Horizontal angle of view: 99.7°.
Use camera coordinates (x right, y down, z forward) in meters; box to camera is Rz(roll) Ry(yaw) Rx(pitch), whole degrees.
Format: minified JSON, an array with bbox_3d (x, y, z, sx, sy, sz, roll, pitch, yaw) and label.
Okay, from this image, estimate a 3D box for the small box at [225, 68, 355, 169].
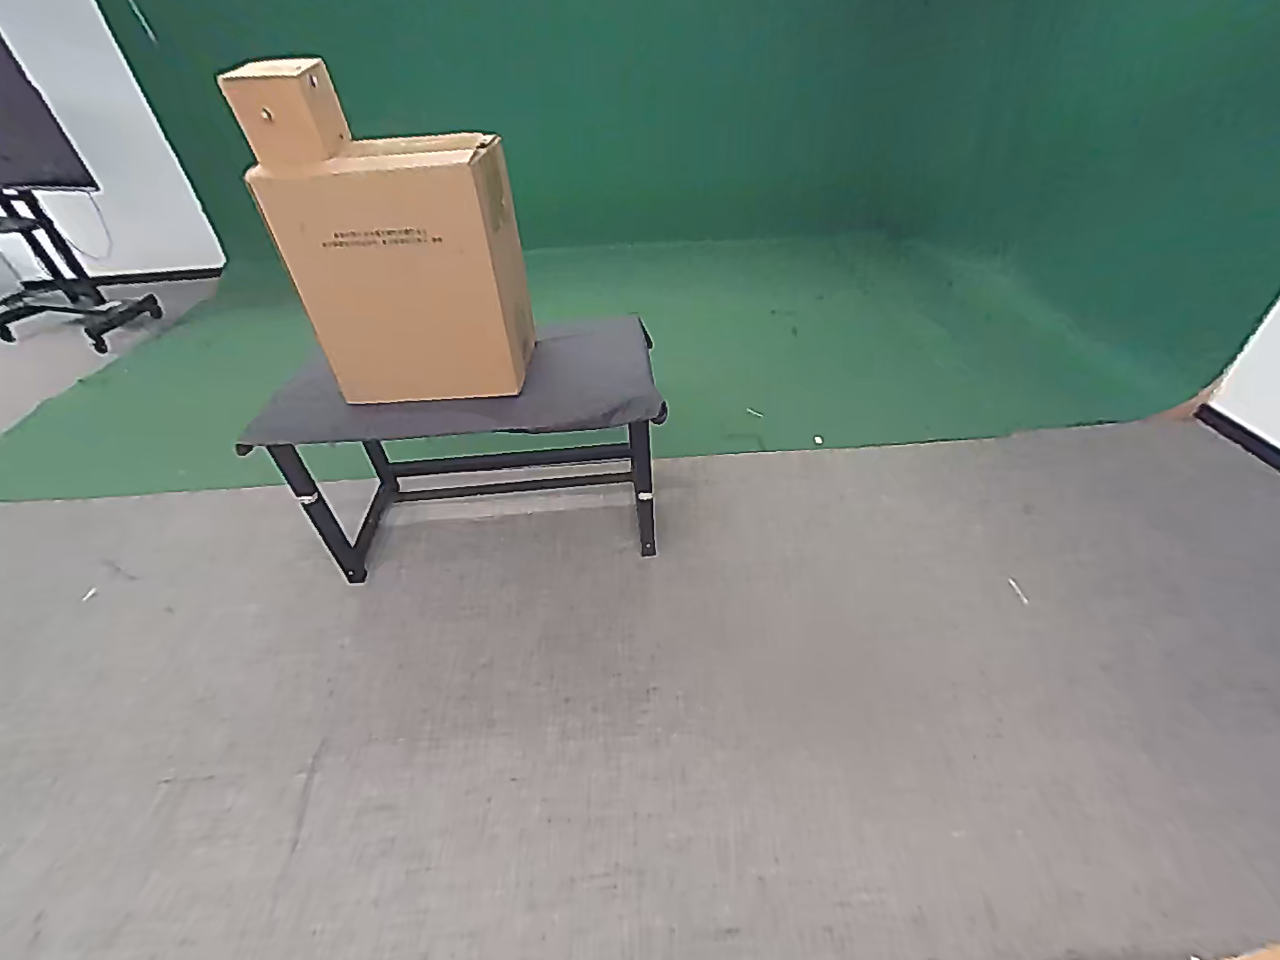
[{"bbox_3d":[-0.831,-0.869,1.304,0.179,0.176,0.168,-3,48,1],"label":"small box"}]
